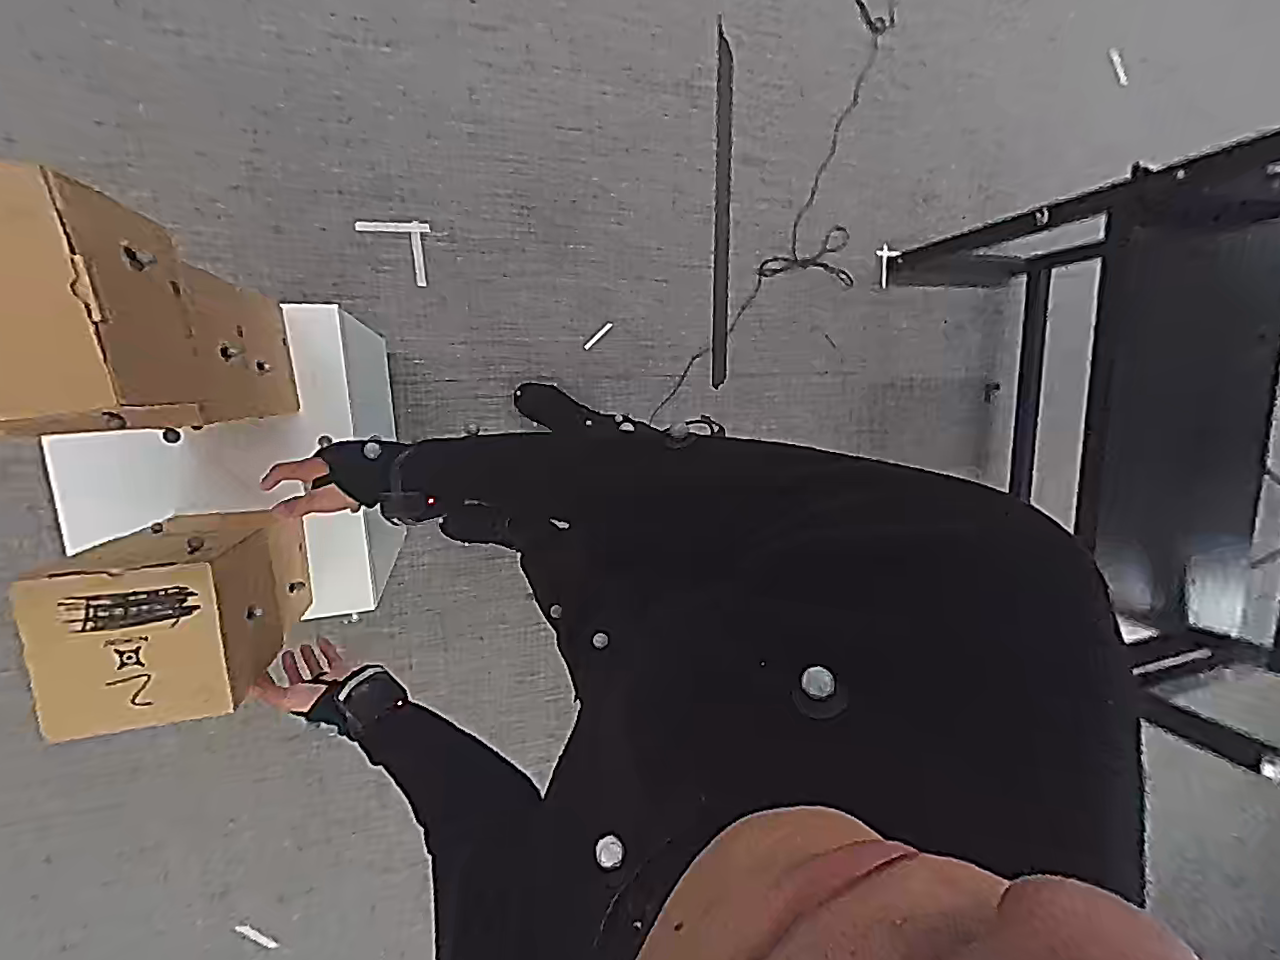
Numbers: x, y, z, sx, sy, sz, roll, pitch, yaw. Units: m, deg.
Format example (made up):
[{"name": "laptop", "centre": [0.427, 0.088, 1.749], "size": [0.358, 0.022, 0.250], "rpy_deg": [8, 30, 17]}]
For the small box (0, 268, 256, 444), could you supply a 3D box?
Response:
[{"name": "small box", "centre": [-0.542, -0.134, 0.578], "size": [0.179, 0.176, 0.168], "rpy_deg": [-7, 101, -17]}]

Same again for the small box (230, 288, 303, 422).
[{"name": "small box", "centre": [-0.592, -0.160, 0.733], "size": [0.179, 0.176, 0.168], "rpy_deg": [-7, 102, -16]}]

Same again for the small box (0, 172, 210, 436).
[{"name": "small box", "centre": [-0.482, -0.124, 0.426], "size": [0.179, 0.176, 0.168], "rpy_deg": [-12, 102, -15]}]

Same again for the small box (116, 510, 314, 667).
[{"name": "small box", "centre": [-0.592, 0.144, 0.785], "size": [0.179, 0.176, 0.168], "rpy_deg": [-5, 100, -16]}]
